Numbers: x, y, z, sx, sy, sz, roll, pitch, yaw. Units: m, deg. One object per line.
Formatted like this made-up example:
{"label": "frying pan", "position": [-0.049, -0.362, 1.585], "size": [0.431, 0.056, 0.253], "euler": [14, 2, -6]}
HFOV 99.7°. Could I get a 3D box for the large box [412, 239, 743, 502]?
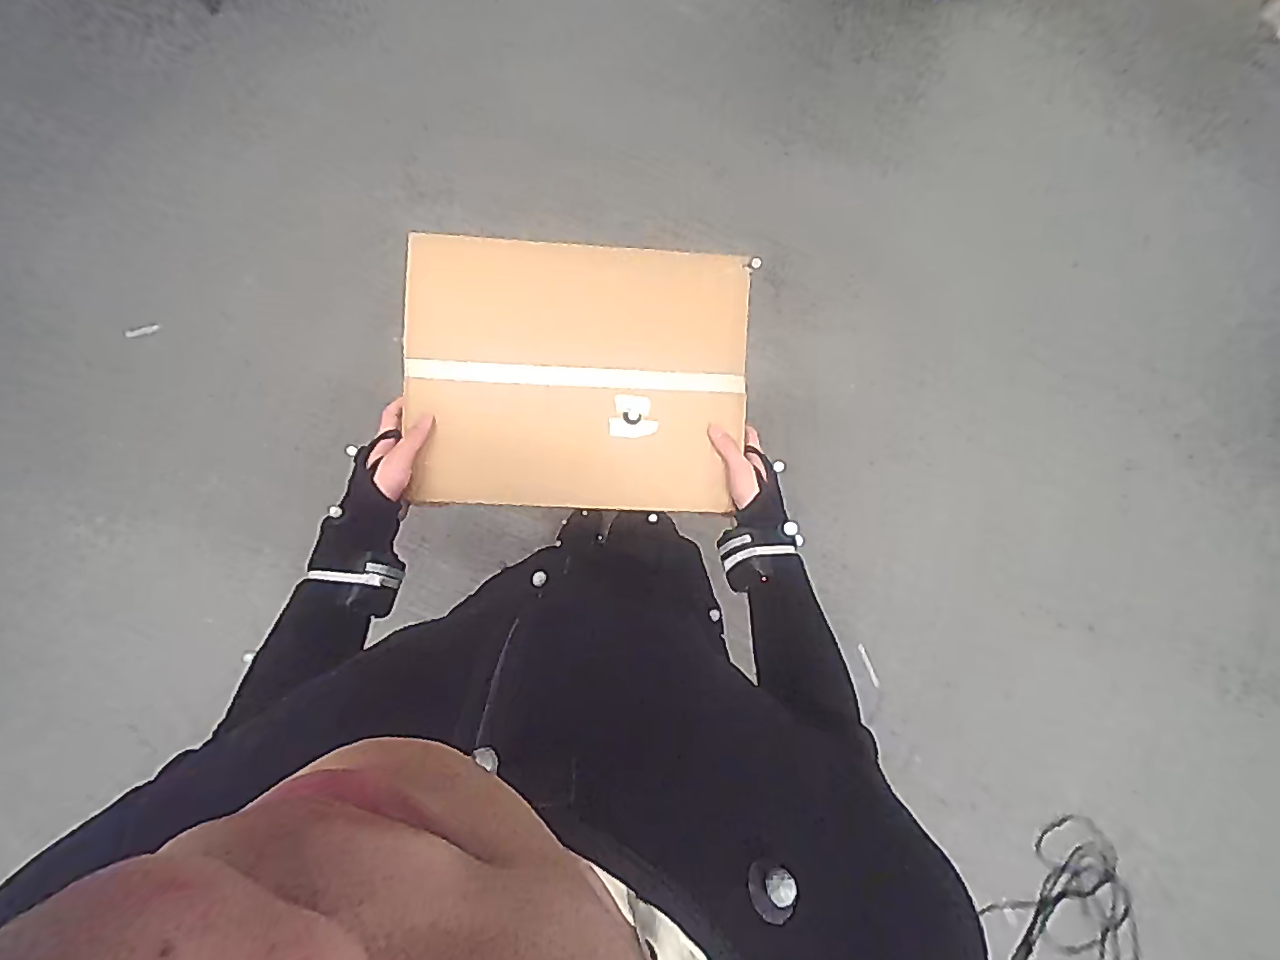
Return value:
{"label": "large box", "position": [-0.086, -0.133, 0.802], "size": [0.408, 0.320, 0.320], "euler": [1, 92, -5]}
